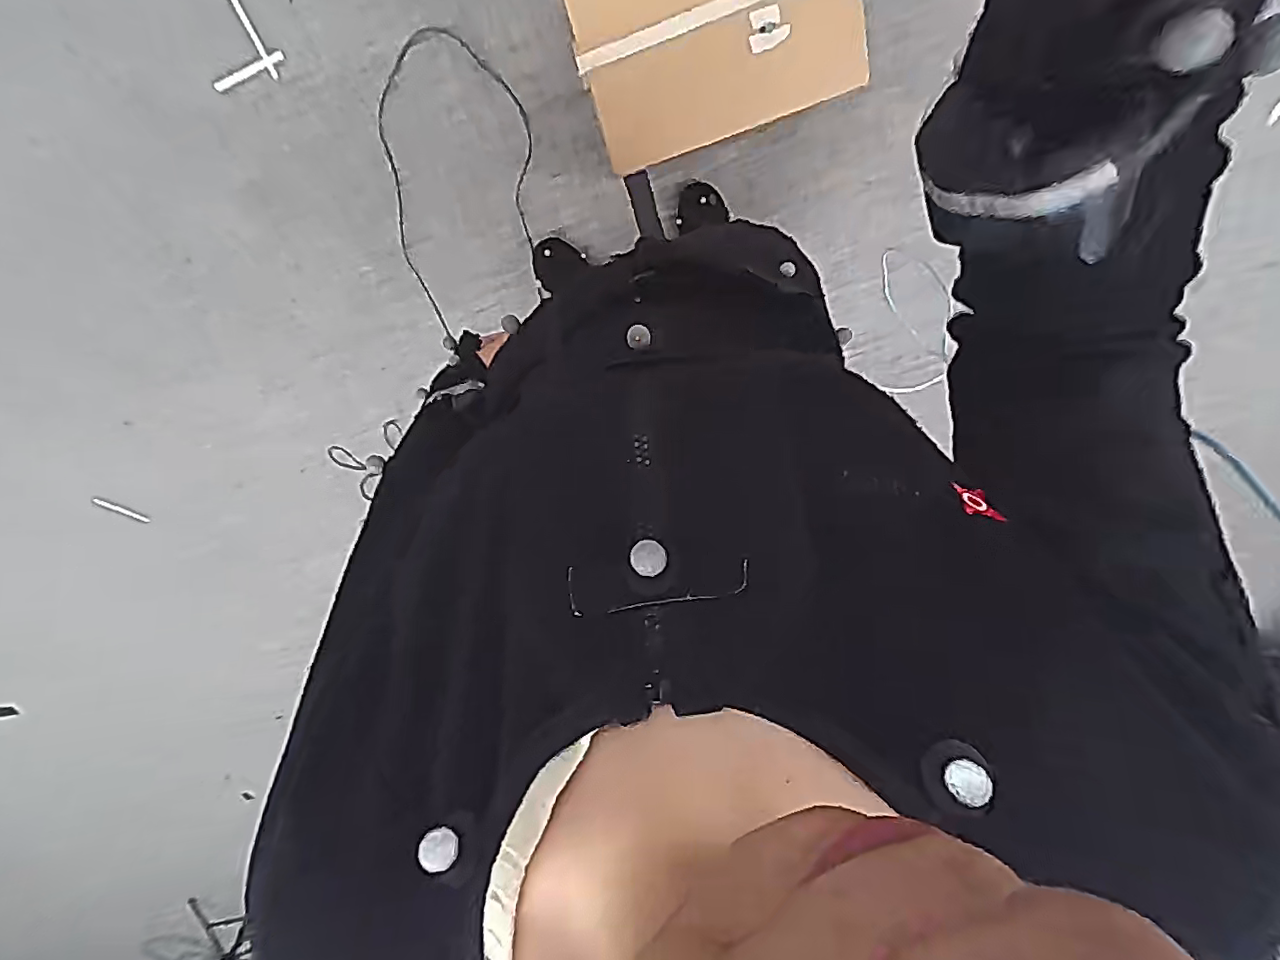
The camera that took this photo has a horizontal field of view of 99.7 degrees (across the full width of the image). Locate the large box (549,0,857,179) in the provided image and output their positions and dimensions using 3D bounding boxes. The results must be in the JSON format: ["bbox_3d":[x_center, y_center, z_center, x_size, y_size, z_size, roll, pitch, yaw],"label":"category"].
[{"bbox_3d":[0.083,-0.736,0.894,0.408,0.320,0.320,-17,119,7],"label":"large box"}]
